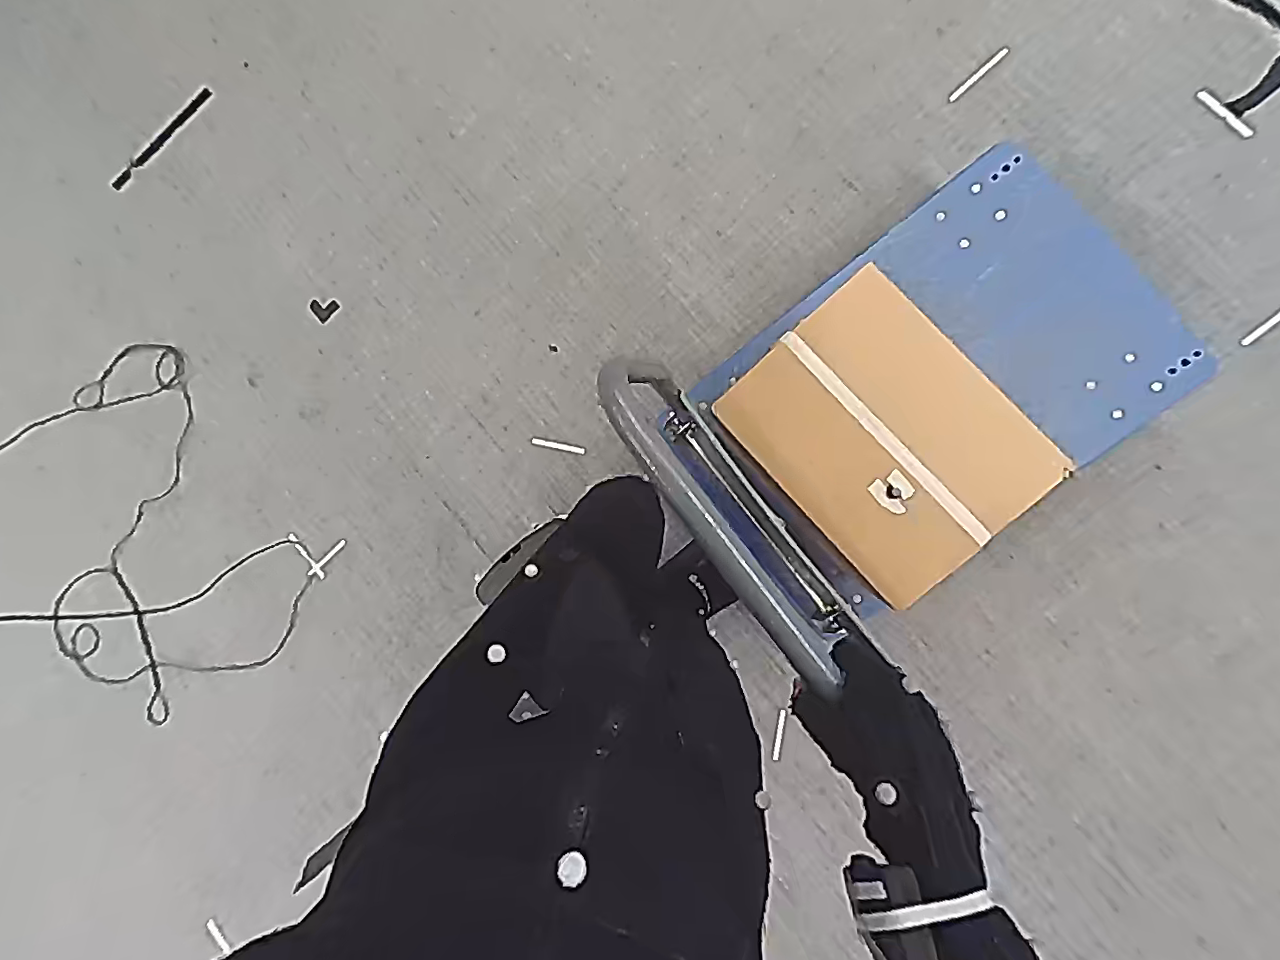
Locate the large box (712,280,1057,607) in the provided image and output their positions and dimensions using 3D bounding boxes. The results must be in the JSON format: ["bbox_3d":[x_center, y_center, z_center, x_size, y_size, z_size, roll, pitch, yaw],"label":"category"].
[{"bbox_3d":[0.369,-0.056,0.946,0.320,0.320,0.408,-42,85,7],"label":"large box"}]
